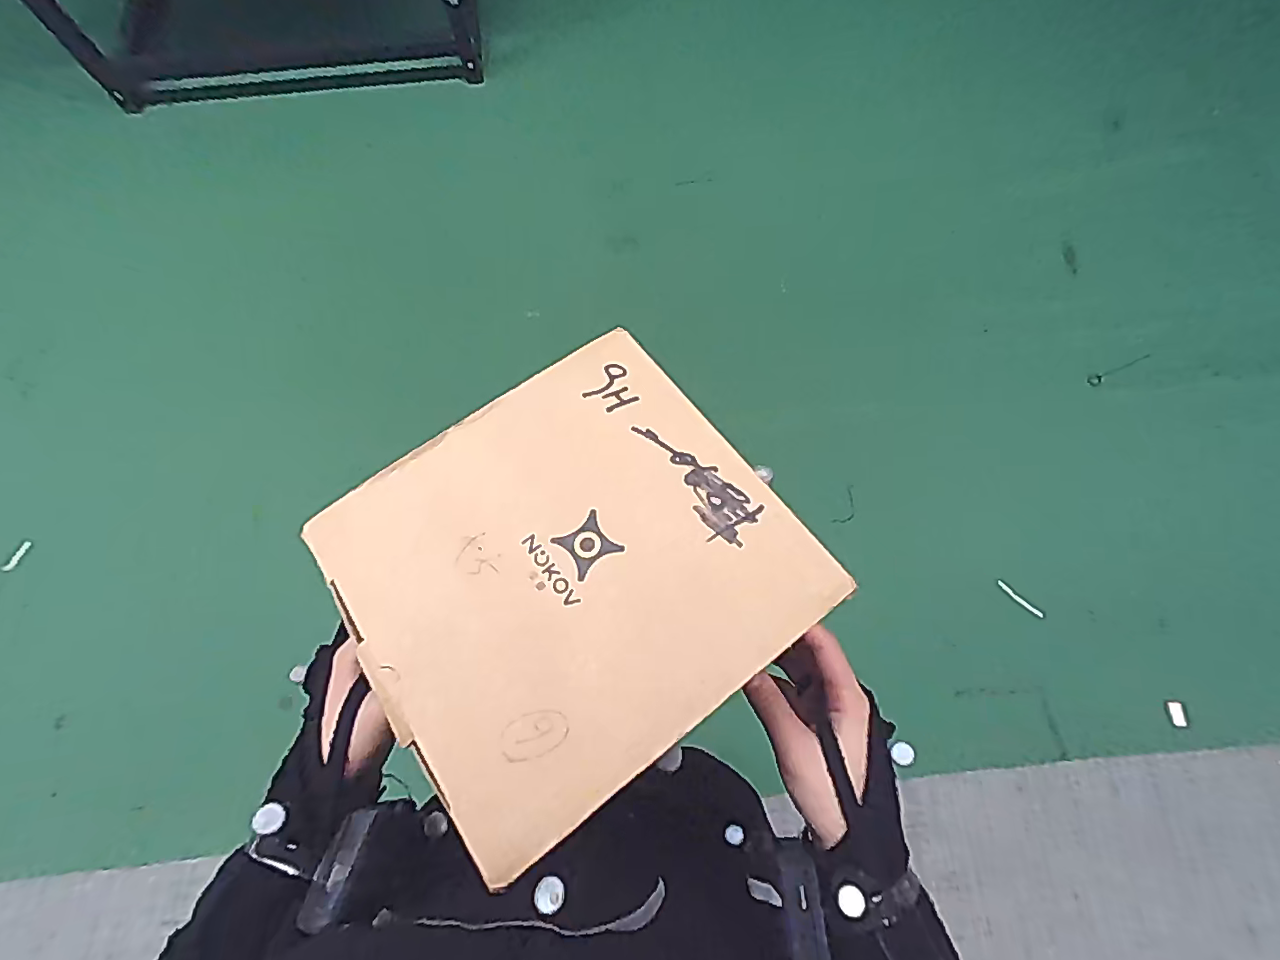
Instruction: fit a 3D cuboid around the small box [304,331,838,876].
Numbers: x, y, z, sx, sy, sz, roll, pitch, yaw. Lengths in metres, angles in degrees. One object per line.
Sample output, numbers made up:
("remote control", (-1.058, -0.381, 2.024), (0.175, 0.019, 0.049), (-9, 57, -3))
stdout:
("small box", (-0.030, 0.062, 0.301), (0.179, 0.176, 0.168), (-35, 71, -11))
